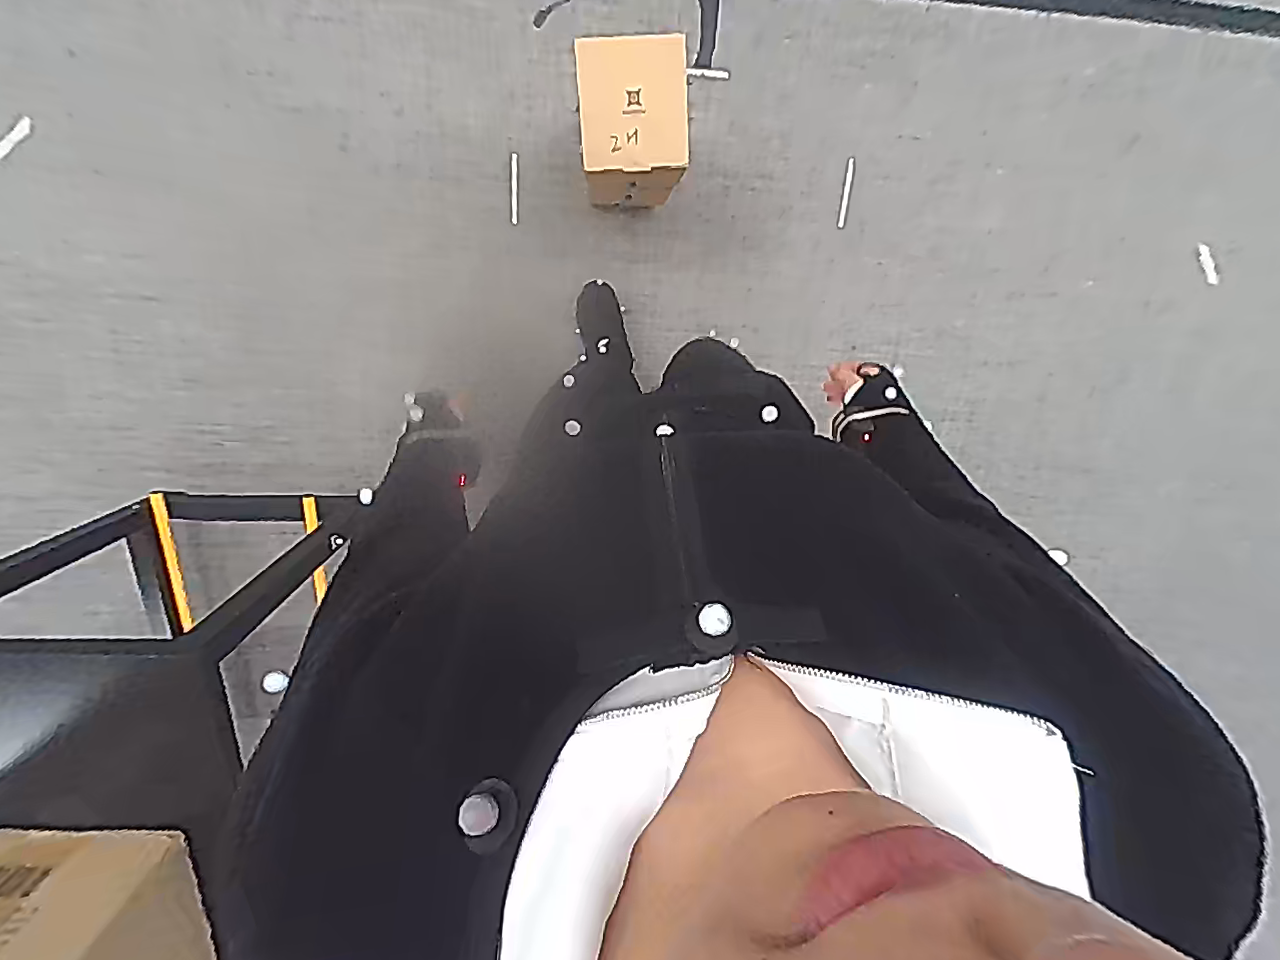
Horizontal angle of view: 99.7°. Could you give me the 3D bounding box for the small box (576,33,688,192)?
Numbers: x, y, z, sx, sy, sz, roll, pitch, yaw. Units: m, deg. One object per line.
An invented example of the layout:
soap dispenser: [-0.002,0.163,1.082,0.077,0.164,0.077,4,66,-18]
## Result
small box: [-0.014,-0.589,0.886,0.168,0.176,0.179,-4,109,-1]

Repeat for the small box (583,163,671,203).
small box: [-0.022,-0.643,1.043,0.168,0.176,0.179,1,109,-3]
